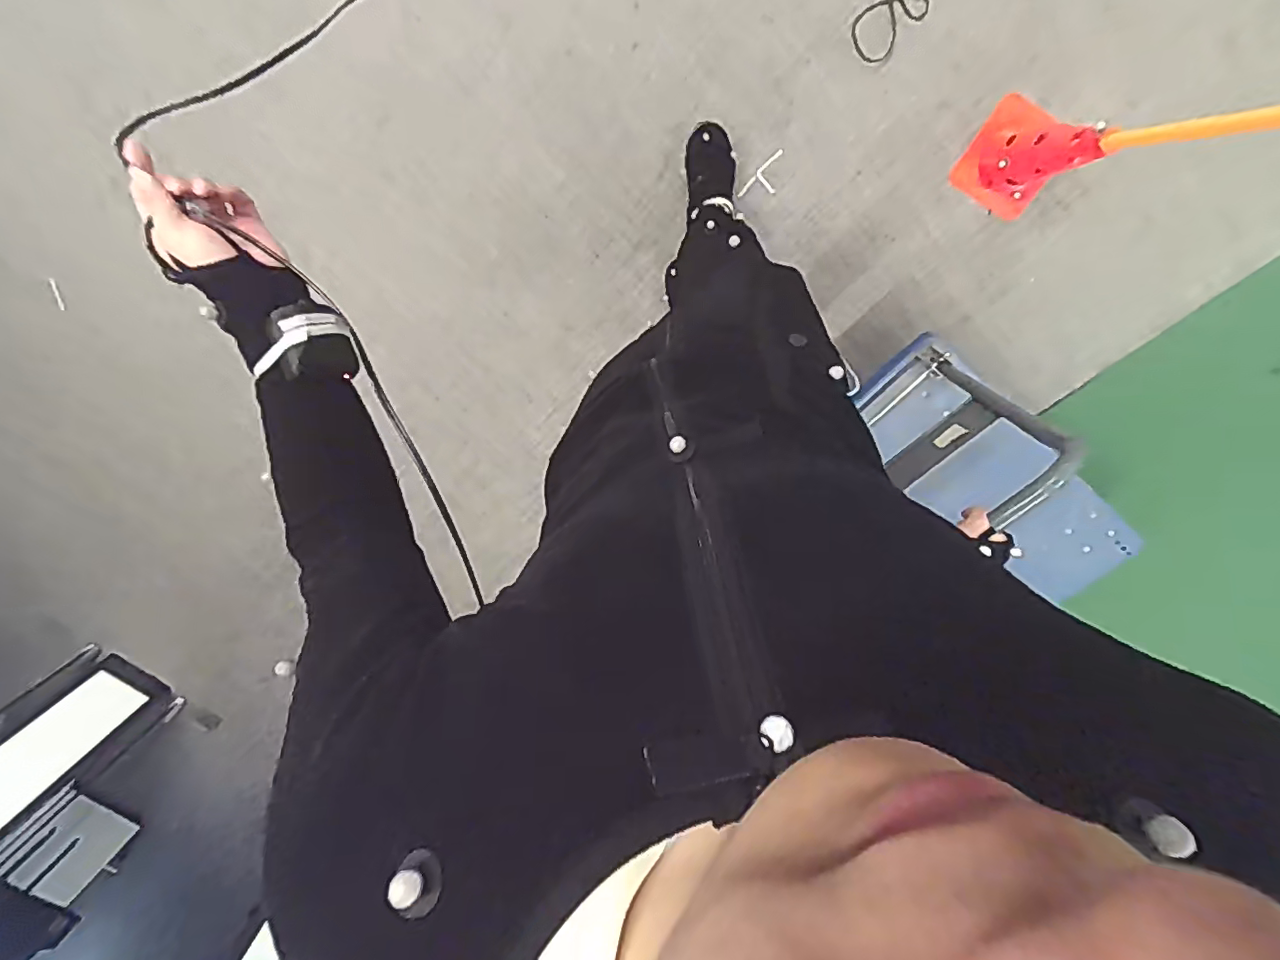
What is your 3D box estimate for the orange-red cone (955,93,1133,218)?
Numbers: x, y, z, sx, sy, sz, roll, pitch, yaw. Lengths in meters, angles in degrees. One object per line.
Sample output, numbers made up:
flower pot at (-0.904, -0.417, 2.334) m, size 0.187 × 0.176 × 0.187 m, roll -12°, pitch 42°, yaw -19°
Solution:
orange-red cone at (0.839, -0.661, 1.079) m, size 0.198 × 0.360 × 0.199 m, roll 29°, pitch 115°, yaw -8°
